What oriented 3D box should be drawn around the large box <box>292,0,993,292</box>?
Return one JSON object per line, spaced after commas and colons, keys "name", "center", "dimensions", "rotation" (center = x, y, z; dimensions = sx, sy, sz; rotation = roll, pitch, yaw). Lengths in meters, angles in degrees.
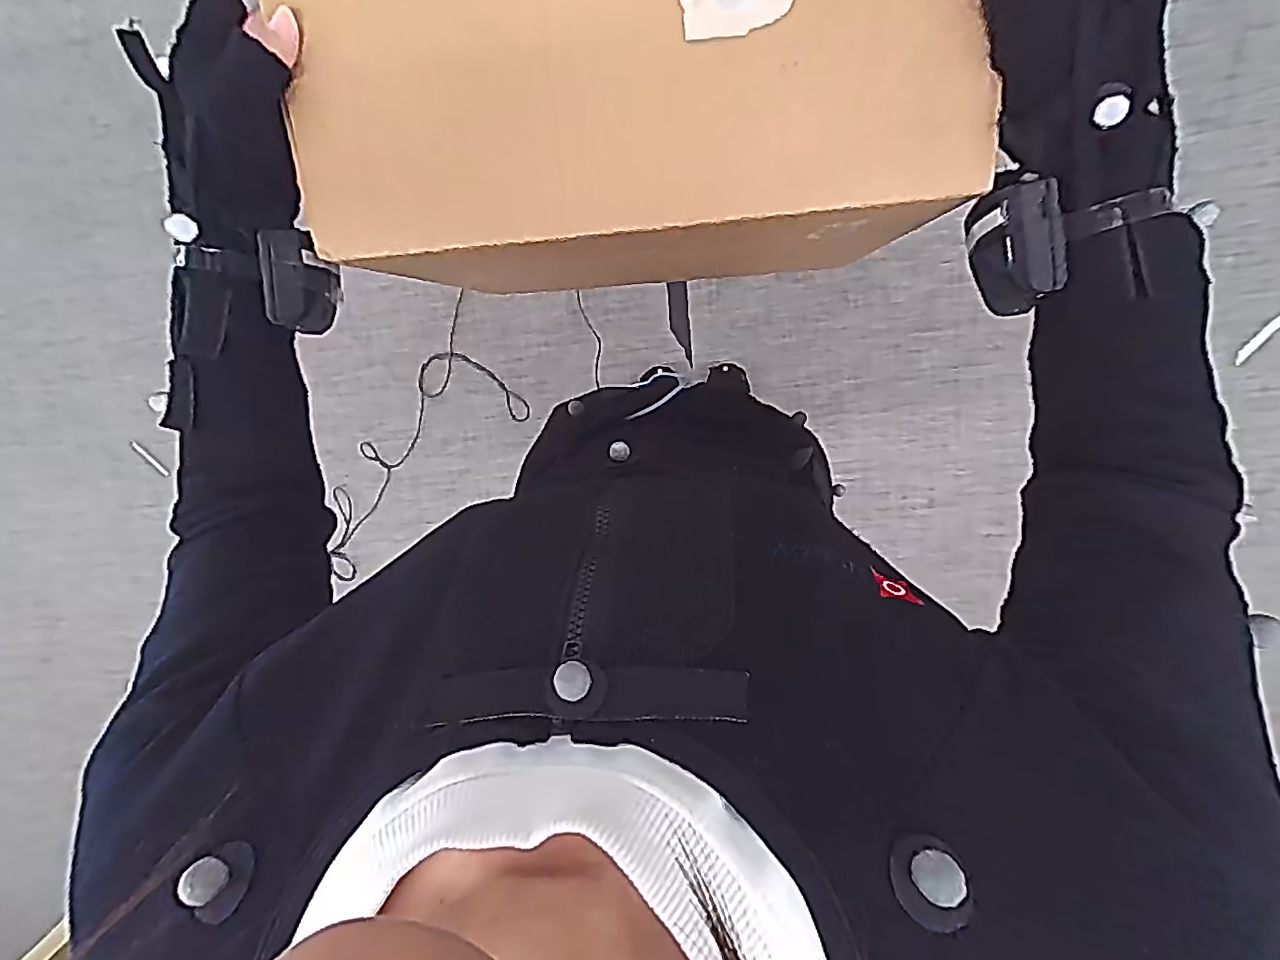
{"name": "large box", "center": [0.002, -0.346, 0.440], "dimensions": [0.408, 0.320, 0.320], "rotation": [-3, 105, 7]}
